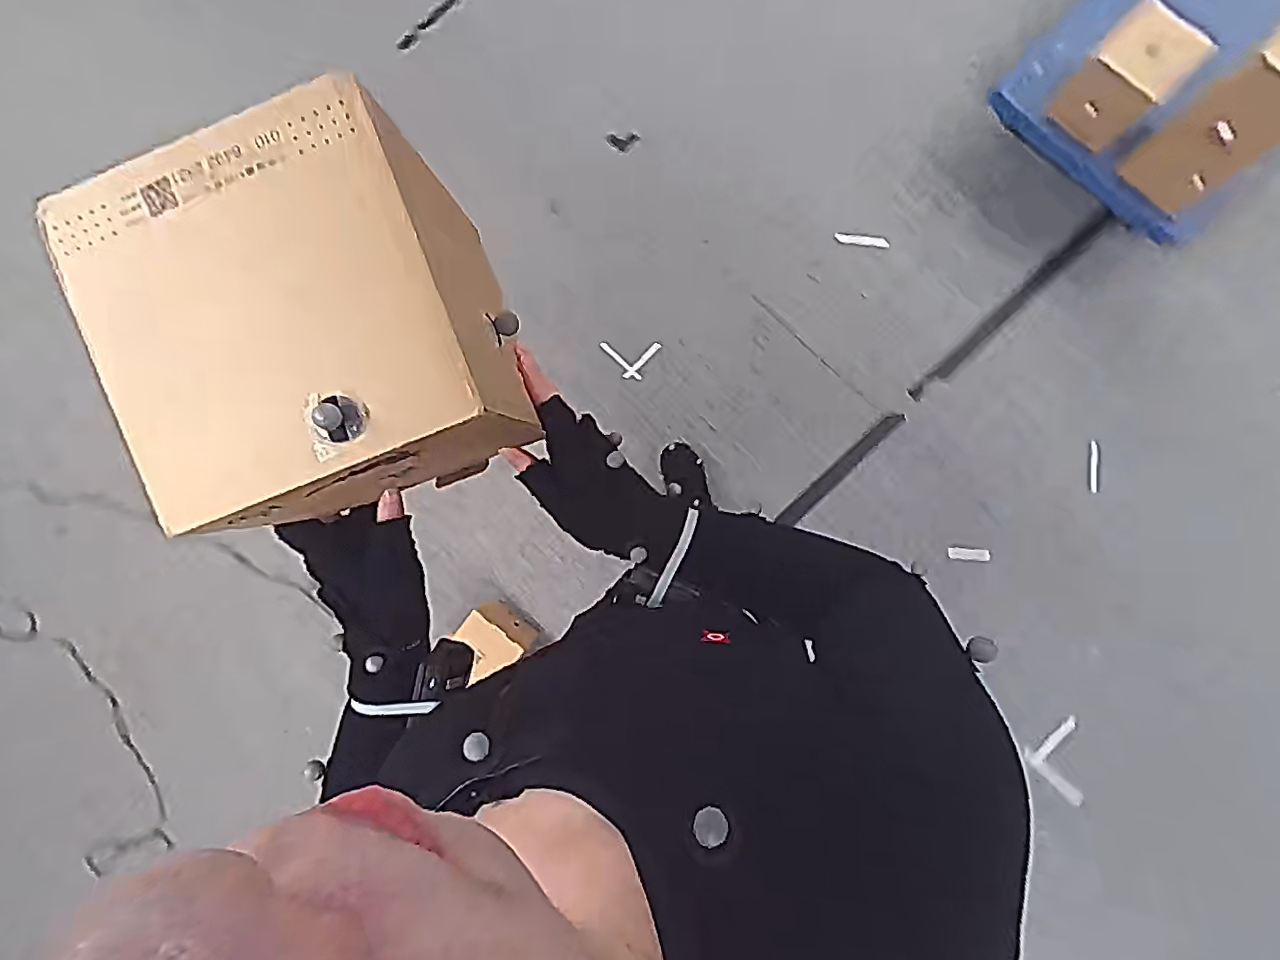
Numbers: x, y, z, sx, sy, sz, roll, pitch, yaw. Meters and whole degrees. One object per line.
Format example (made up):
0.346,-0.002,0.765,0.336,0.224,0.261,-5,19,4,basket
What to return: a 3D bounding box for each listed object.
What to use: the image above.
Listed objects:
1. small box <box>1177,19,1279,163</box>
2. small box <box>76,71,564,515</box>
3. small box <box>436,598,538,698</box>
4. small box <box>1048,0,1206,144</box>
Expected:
1.213,-0.765,1.033,0.179,0.176,0.168,-43,84,1,small box
-0.162,-0.093,0.332,0.168,0.179,0.176,-20,93,3,small box
-0.397,0.437,1.436,0.168,0.176,0.179,36,89,6,small box
1.077,-0.915,1.219,0.168,0.176,0.179,44,90,5,small box
